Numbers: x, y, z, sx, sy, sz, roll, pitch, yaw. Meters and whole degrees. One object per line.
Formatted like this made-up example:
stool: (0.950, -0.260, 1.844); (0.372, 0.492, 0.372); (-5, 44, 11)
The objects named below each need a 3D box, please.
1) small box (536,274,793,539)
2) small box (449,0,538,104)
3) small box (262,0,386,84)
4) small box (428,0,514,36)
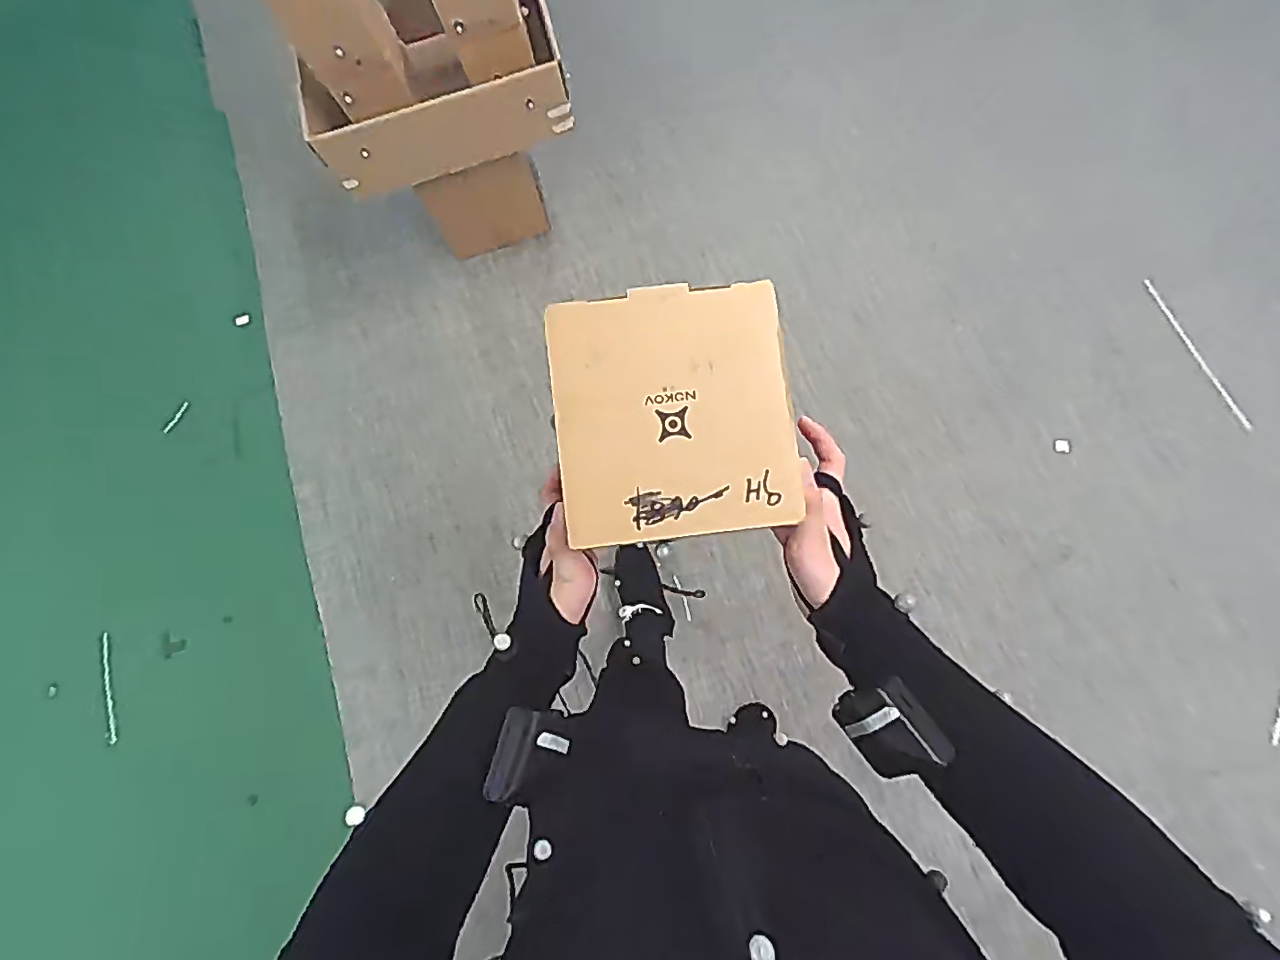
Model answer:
small box: (0.015, -0.045, 0.455); (0.168, 0.176, 0.179); (-7, 84, 0)
small box: (-0.360, -1.062, 1.303); (0.168, 0.176, 0.179); (-16, 77, 3)
small box: (-0.672, -1.007, 1.157); (0.168, 0.176, 0.179); (-14, 77, 4)
small box: (-0.378, -1.089, 1.142); (0.168, 0.176, 0.179); (-14, 77, 3)
